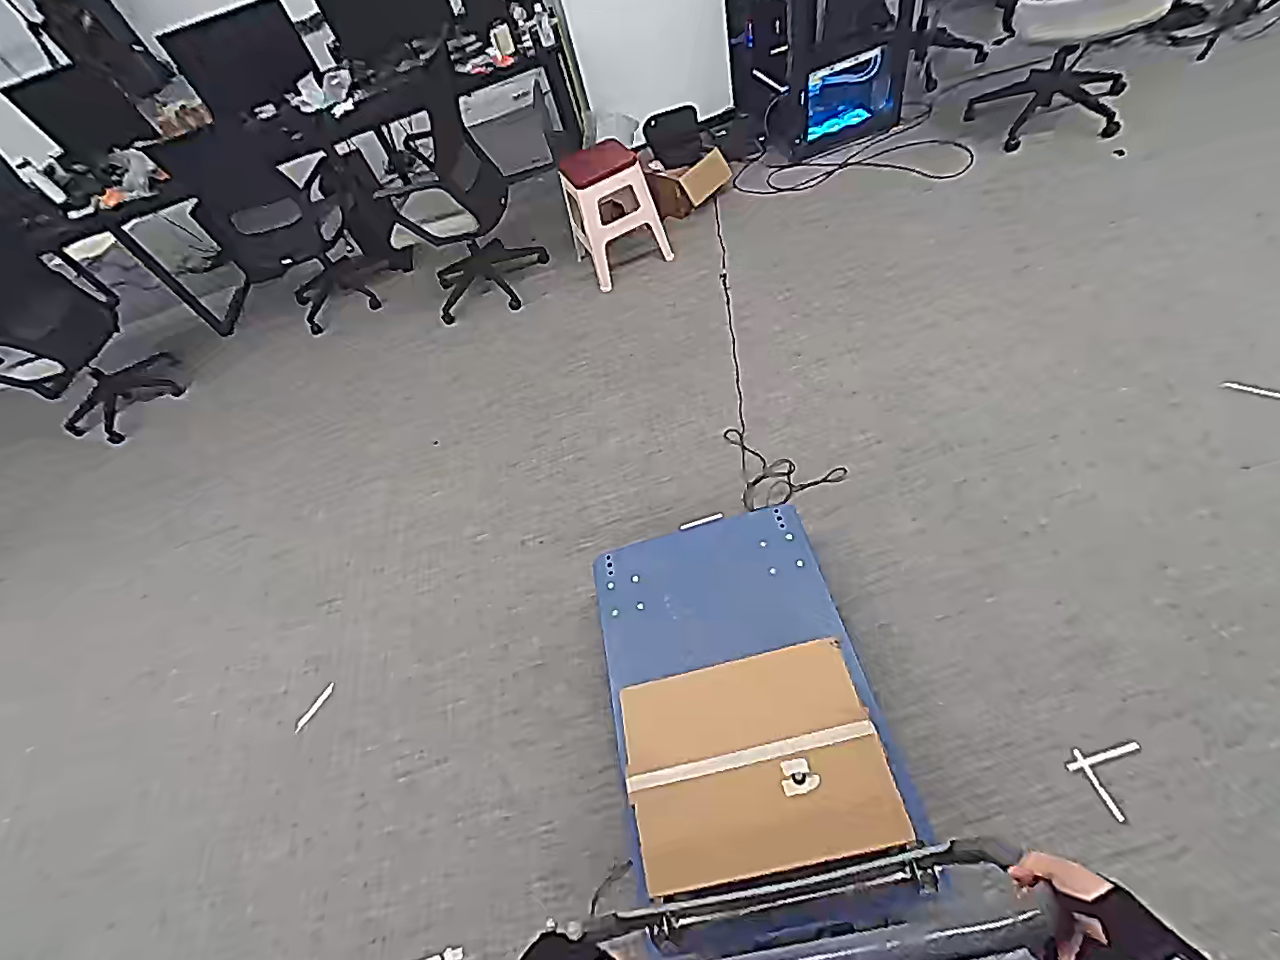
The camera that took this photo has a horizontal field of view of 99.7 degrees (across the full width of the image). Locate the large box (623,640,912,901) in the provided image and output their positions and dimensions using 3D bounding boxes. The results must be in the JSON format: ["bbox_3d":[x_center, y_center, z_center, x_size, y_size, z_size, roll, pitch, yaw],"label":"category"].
[{"bbox_3d":[0.215,0.545,1.006,0.408,0.320,0.320,-16,53,4],"label":"large box"}]
